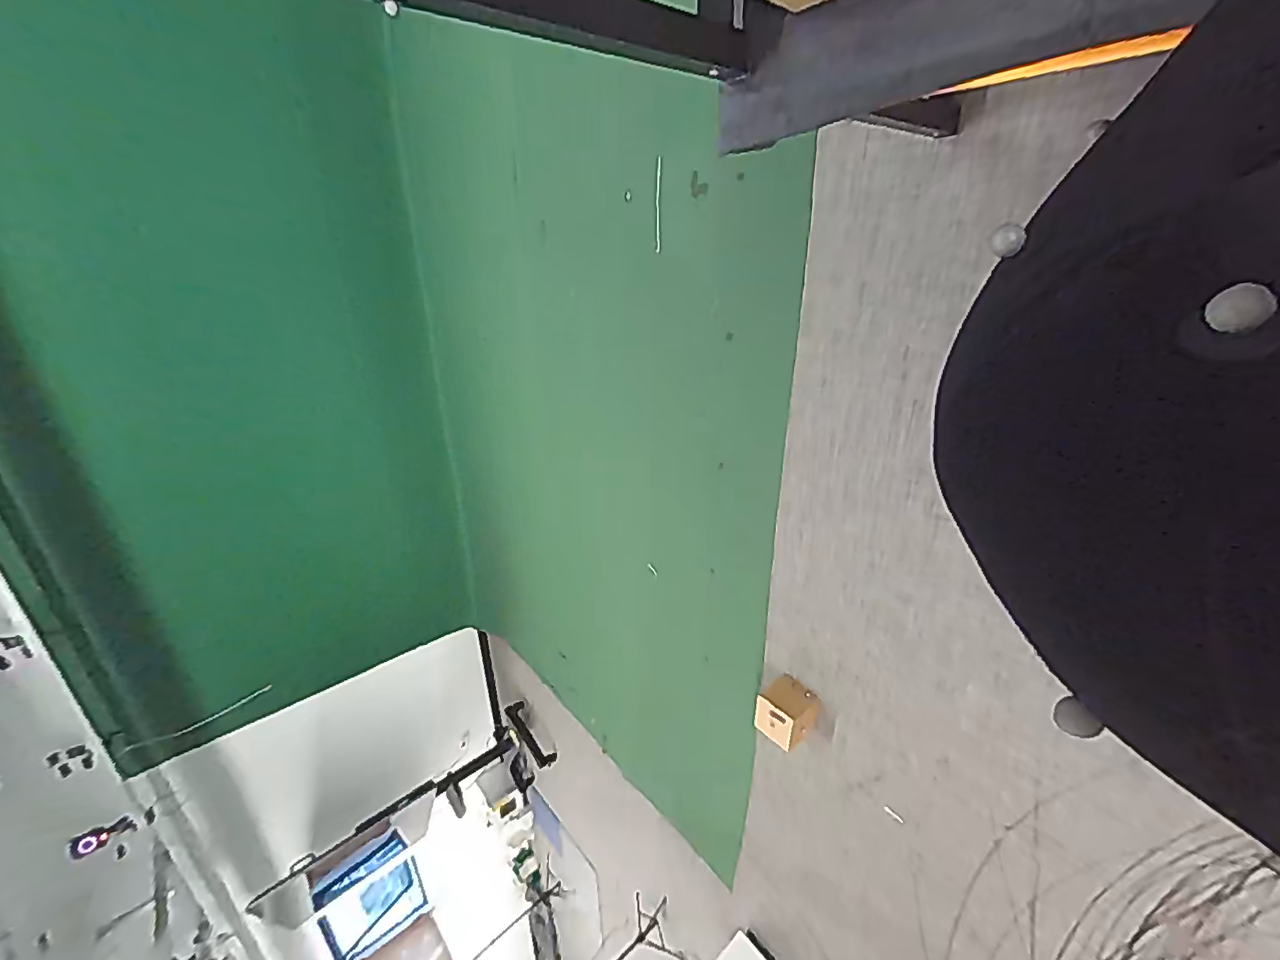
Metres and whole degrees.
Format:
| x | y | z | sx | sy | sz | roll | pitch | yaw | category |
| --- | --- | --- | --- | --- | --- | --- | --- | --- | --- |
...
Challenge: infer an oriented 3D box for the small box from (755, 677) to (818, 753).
| x | y | z | sx | sy | sz | roll | pitch | yaw | category |
| --- | --- | --- | --- | --- | --- | --- | --- | --- | --- |
| 0.573 | 0.907 | 2.102 | 0.168 | 0.176 | 0.179 | 26 | 126 | 43 | small box |
